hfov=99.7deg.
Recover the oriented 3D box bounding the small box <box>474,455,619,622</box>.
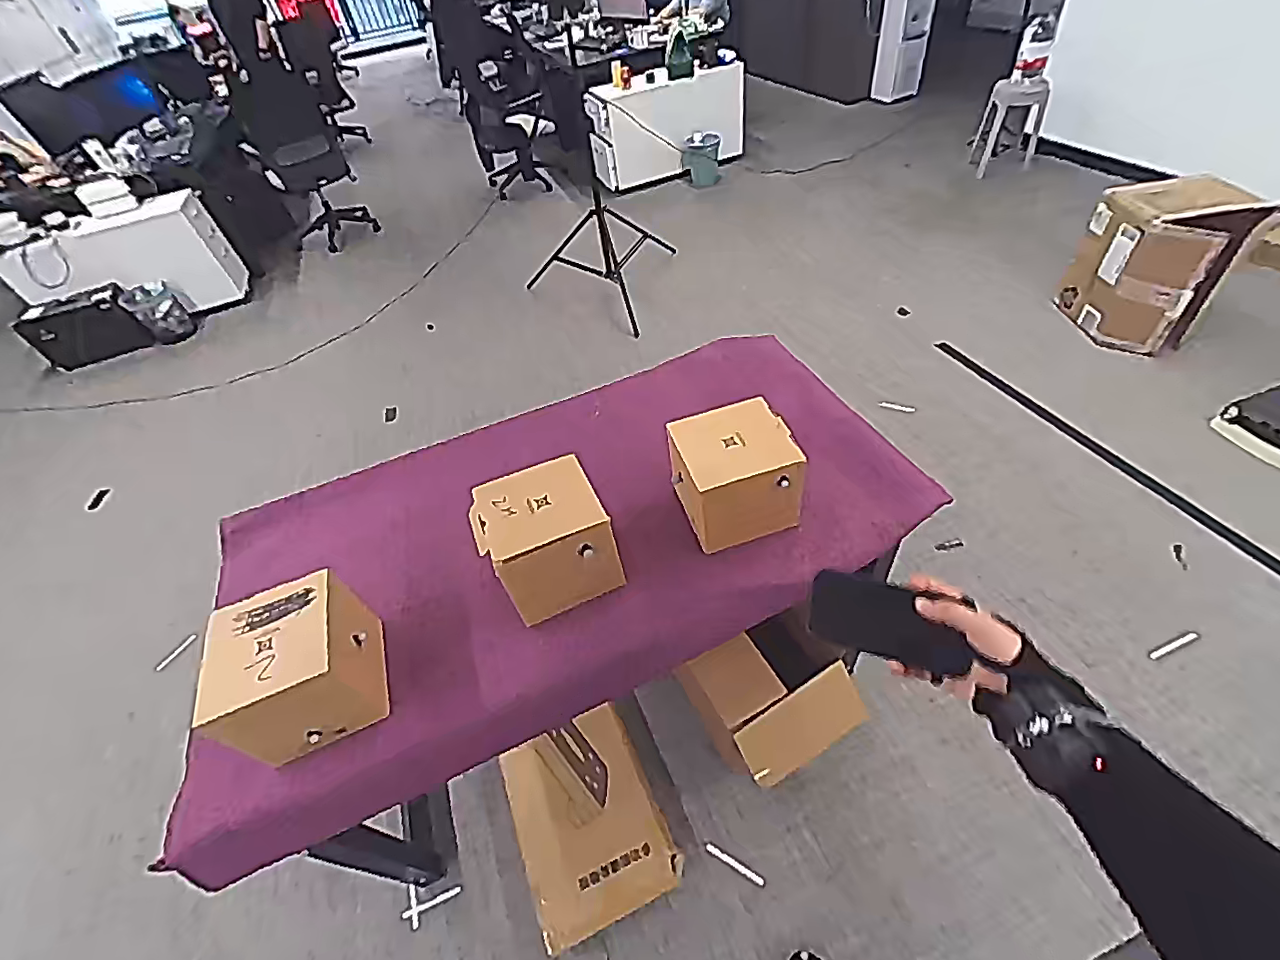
[{"bbox_3d":[-0.142,0.095,0.870,0.179,0.176,0.168,-23,46,-11],"label":"small box"}]

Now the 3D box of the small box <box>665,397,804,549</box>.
[{"bbox_3d":[0.156,-0.008,0.914,0.179,0.176,0.168,-17,47,-6],"label":"small box"}]
